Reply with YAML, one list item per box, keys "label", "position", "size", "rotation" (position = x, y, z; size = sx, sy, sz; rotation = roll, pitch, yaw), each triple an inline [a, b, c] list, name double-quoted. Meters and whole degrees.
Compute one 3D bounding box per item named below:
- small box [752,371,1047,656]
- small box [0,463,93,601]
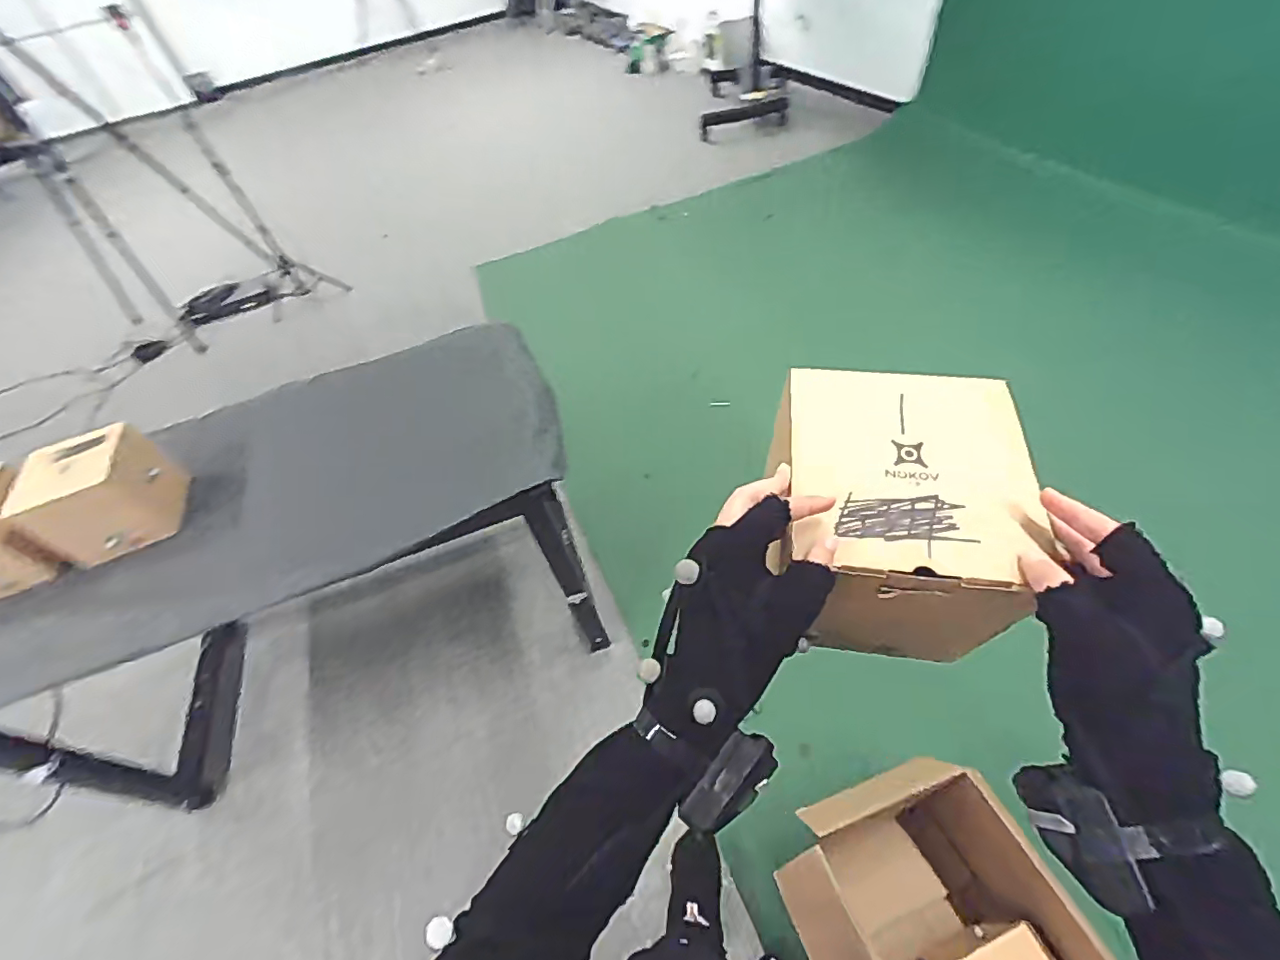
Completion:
- label: "small box"
  position: [0.187, 0.033, 0.452]
  size: [0.168, 0.176, 0.179]
  rotation: [5, 56, 7]
- label: "small box"
  position: [-1.203, 0.103, 1.017]
  size: [0.168, 0.176, 0.179]
  rotation: [-21, 49, -8]
